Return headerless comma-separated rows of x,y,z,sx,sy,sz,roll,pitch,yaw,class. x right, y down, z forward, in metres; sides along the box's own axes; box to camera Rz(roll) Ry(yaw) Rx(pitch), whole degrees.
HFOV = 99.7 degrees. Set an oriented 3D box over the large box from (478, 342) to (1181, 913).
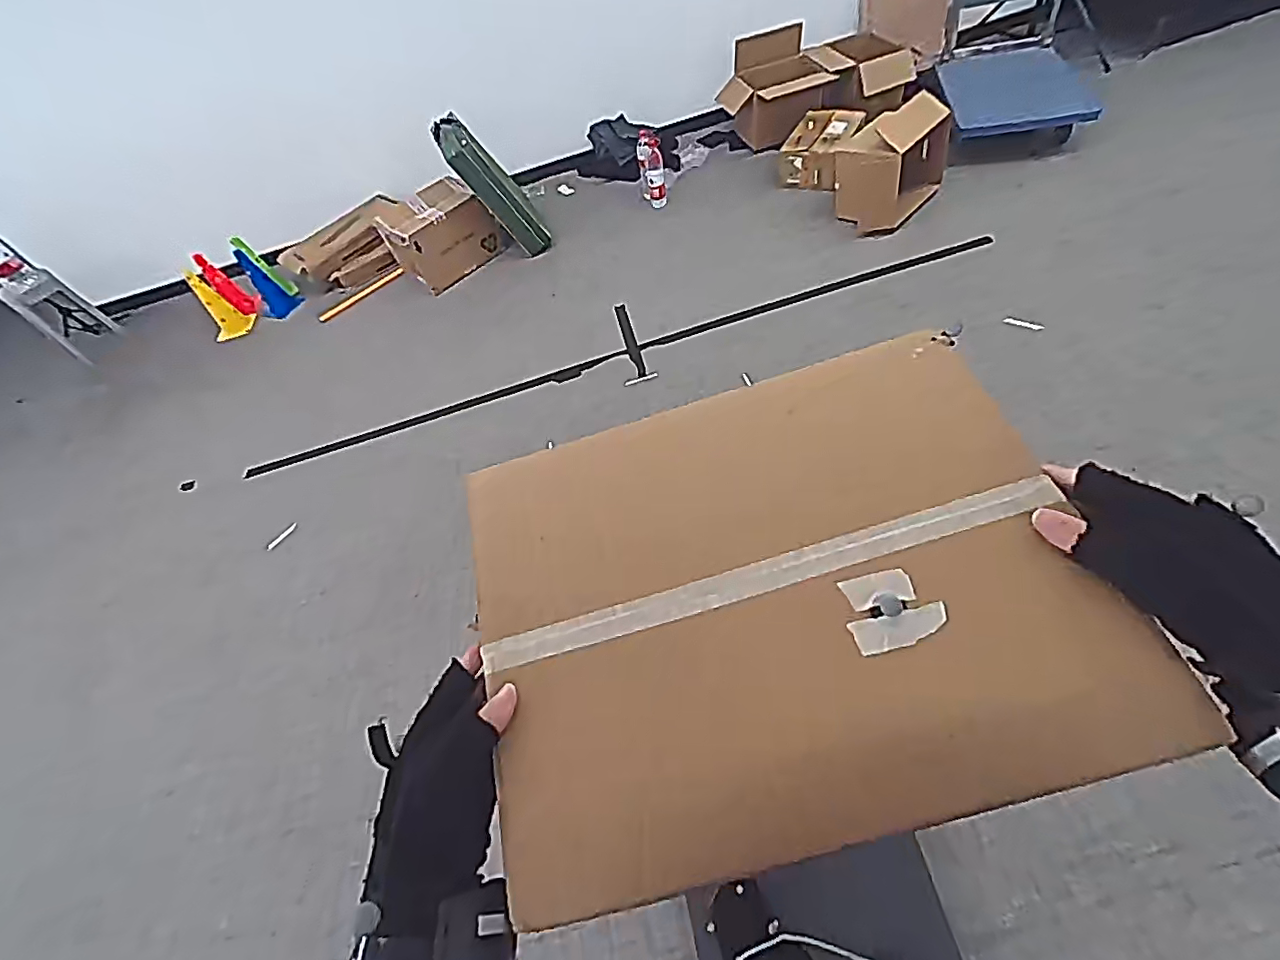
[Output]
0.110,0.139,0.514,0.408,0.320,0.320,-17,61,2,large box
